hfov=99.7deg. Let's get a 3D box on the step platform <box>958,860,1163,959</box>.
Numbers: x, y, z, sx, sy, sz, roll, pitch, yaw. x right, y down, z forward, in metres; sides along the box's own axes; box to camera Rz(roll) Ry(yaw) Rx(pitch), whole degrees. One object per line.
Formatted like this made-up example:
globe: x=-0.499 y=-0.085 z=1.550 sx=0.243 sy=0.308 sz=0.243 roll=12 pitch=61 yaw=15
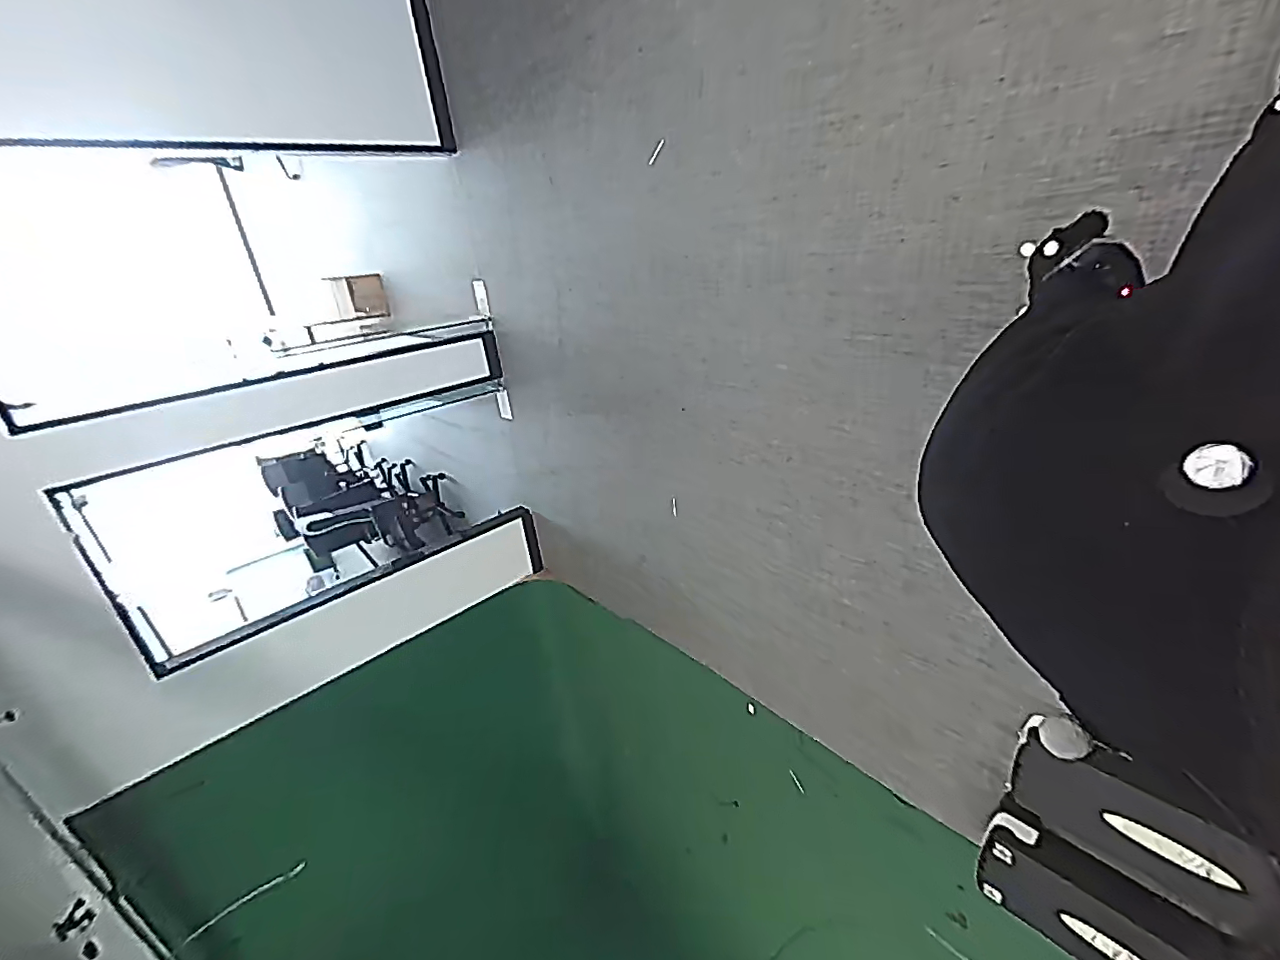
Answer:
step platform: x=1.200 y=1.309 z=1.338 sx=0.684 sy=0.204 sz=0.286 roll=19 pitch=124 yaw=44
